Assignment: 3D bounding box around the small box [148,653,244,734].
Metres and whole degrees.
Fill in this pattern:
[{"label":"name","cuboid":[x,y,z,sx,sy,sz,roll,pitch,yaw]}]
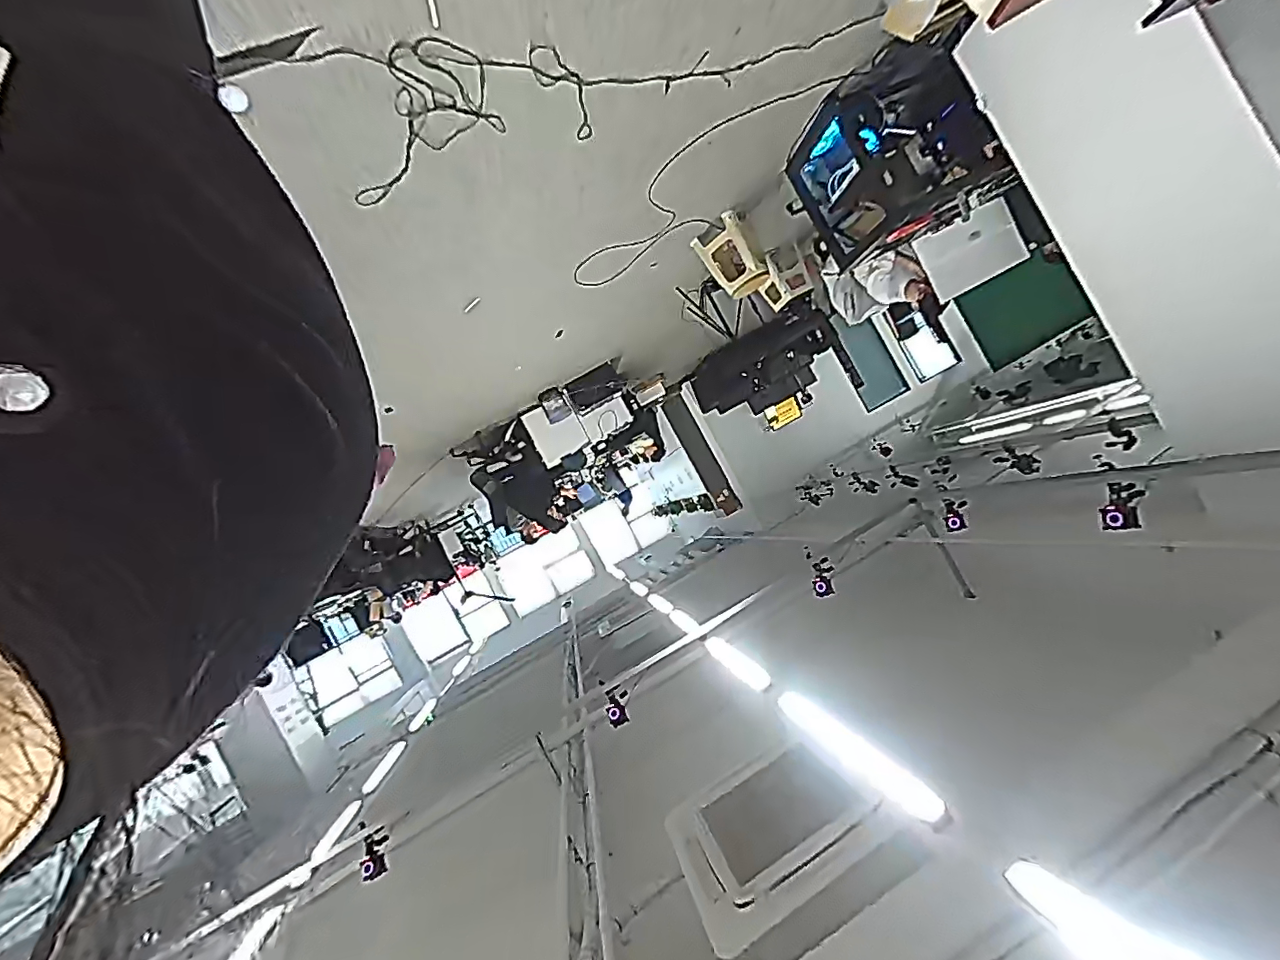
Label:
[{"label":"small box","cuboid":[-1.498,0.711,1.819,0.179,0.176,0.168,-29,179,-12]}]
